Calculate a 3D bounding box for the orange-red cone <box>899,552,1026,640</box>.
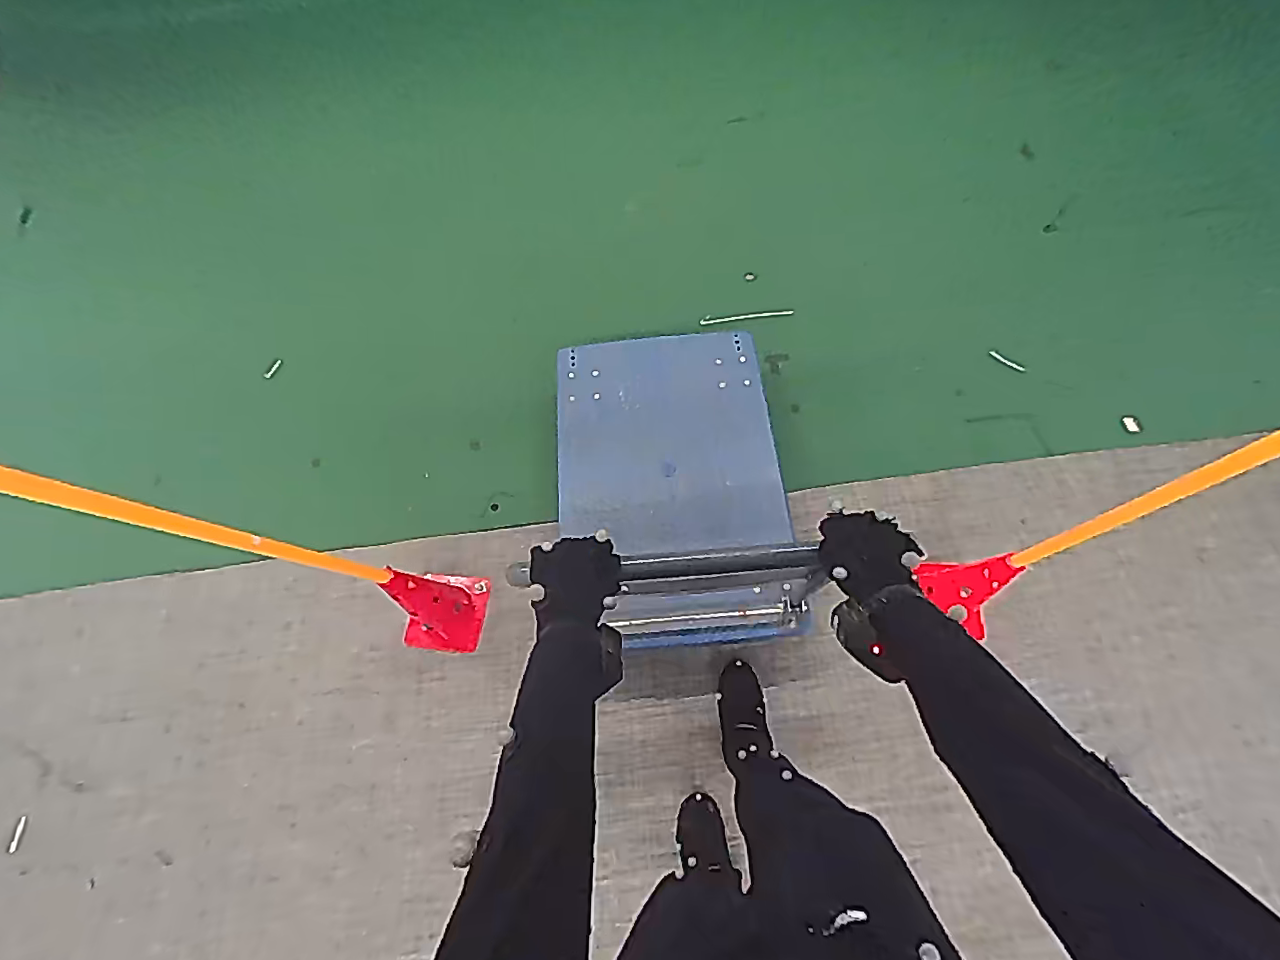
[{"bbox_3d":[0.768,0.237,1.243,0.198,0.360,0.199,2,65,5],"label":"orange-red cone"}]
